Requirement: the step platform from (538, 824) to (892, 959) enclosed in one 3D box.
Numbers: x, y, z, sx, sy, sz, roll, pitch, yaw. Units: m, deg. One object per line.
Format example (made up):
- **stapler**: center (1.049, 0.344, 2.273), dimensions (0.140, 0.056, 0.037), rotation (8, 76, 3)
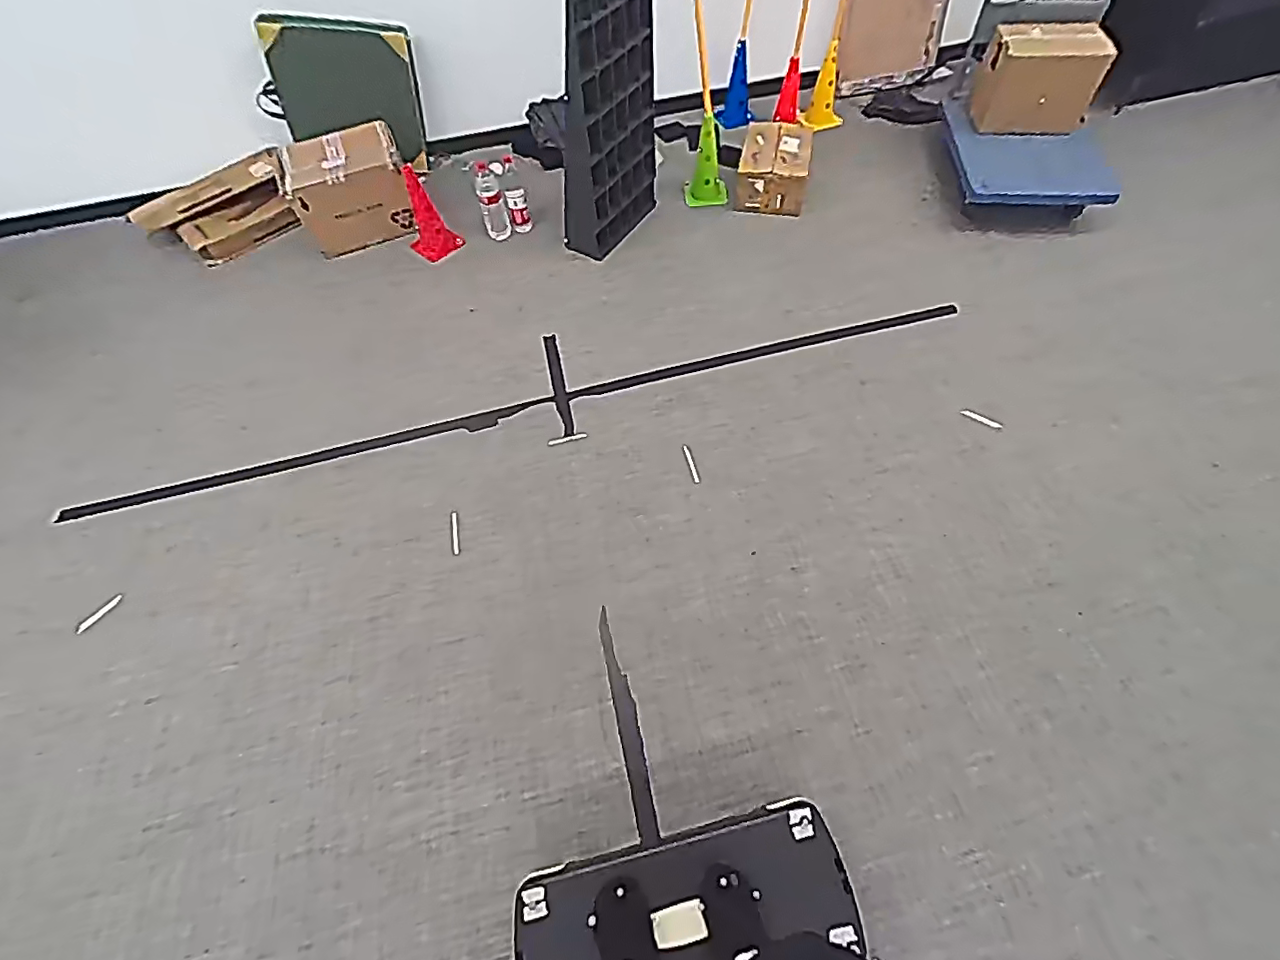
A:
- **step platform**: center (0.140, 0.925, 1.100), dimensions (0.684, 0.204, 0.286), rotation (-9, 57, -3)
